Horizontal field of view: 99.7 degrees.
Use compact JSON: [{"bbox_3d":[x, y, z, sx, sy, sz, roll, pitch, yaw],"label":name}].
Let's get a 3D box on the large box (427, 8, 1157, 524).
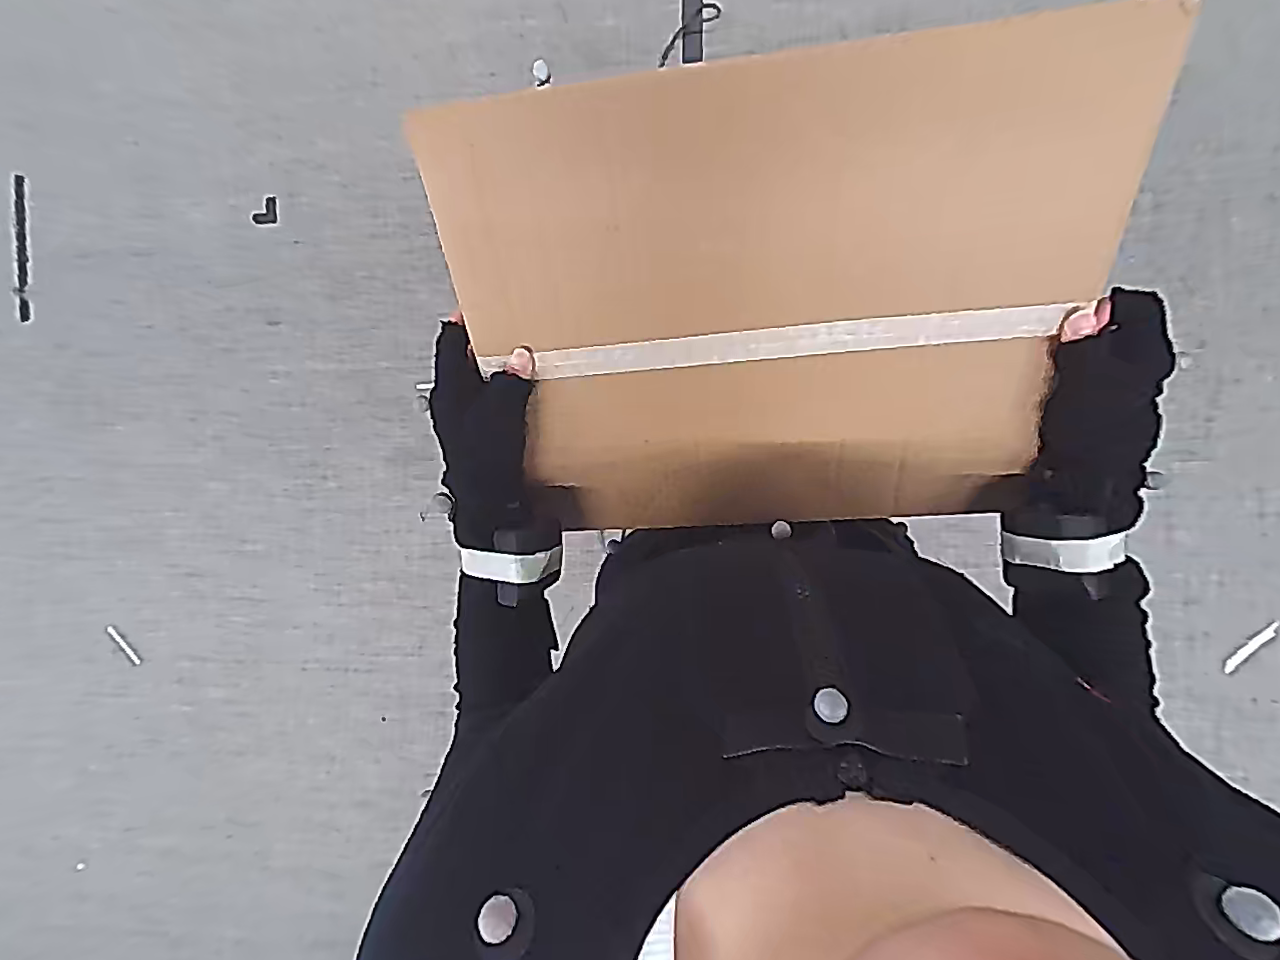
[{"bbox_3d":[0.093,-0.182,0.501,0.408,0.320,0.320,-3,125,7],"label":"large box"}]
